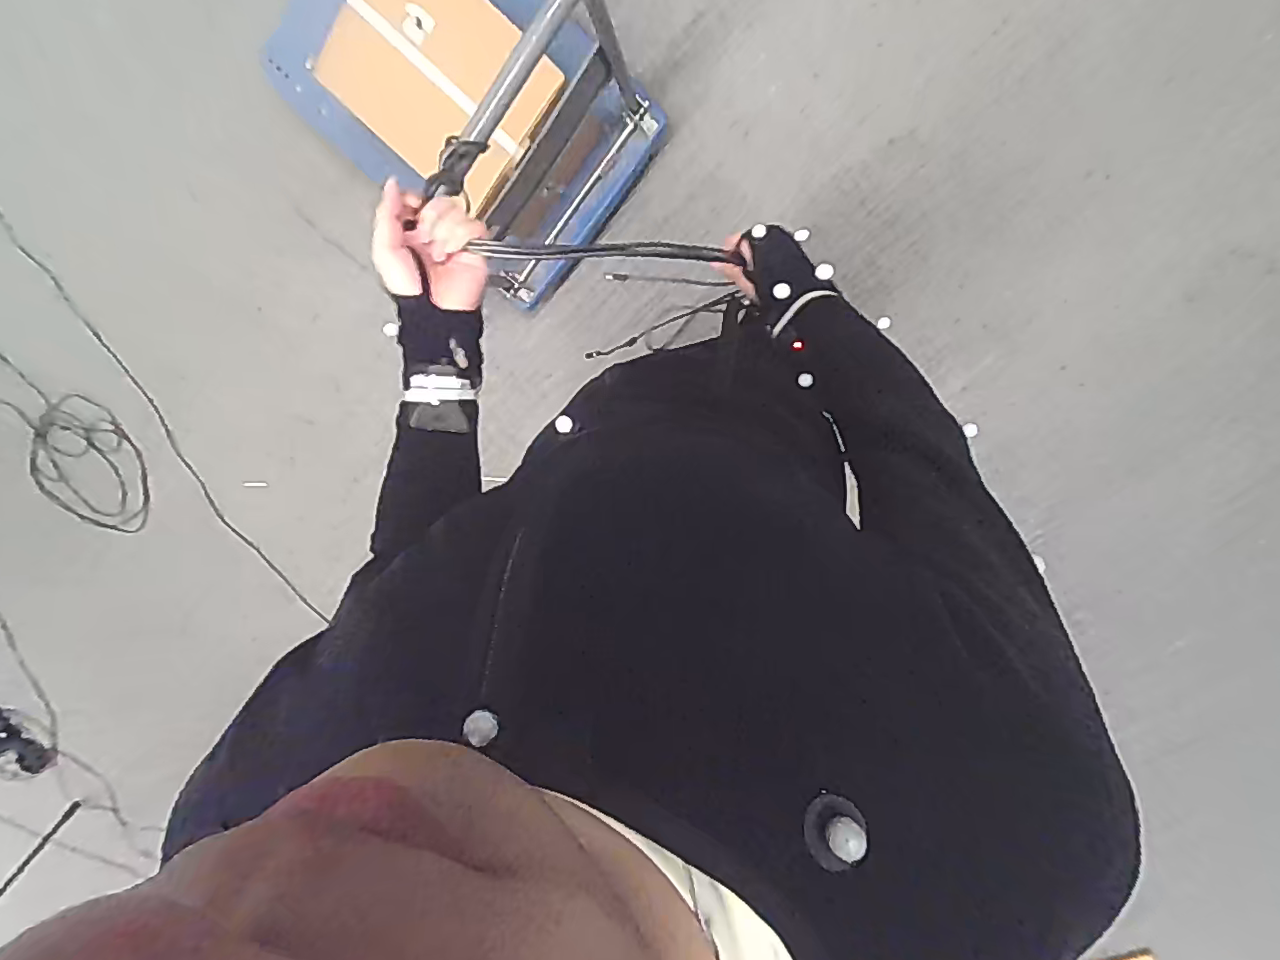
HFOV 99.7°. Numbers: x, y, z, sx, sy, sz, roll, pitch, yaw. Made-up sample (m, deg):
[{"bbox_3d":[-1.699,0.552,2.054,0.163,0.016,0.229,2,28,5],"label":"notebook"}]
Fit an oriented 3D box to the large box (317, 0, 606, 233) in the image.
[{"bbox_3d":[-0.340,-0.788,1.123,0.408,0.320,0.320,42,109,-5],"label":"large box"}]
